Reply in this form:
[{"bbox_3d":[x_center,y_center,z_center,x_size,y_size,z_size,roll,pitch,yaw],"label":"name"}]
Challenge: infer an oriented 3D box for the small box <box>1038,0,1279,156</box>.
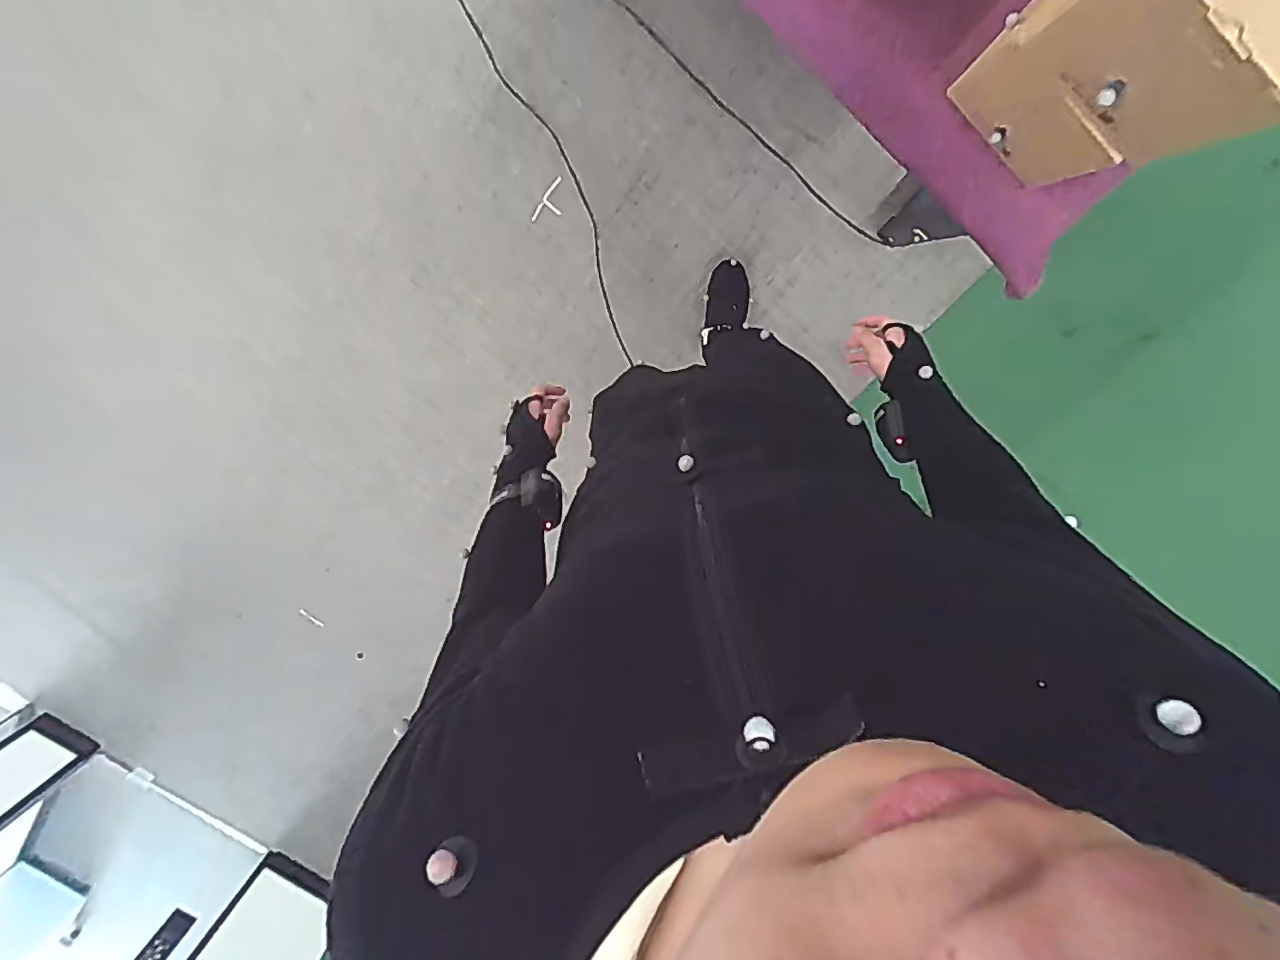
[{"bbox_3d":[0.471,-0.395,0.416,0.168,0.176,0.179,40,111,-7],"label":"small box"}]
